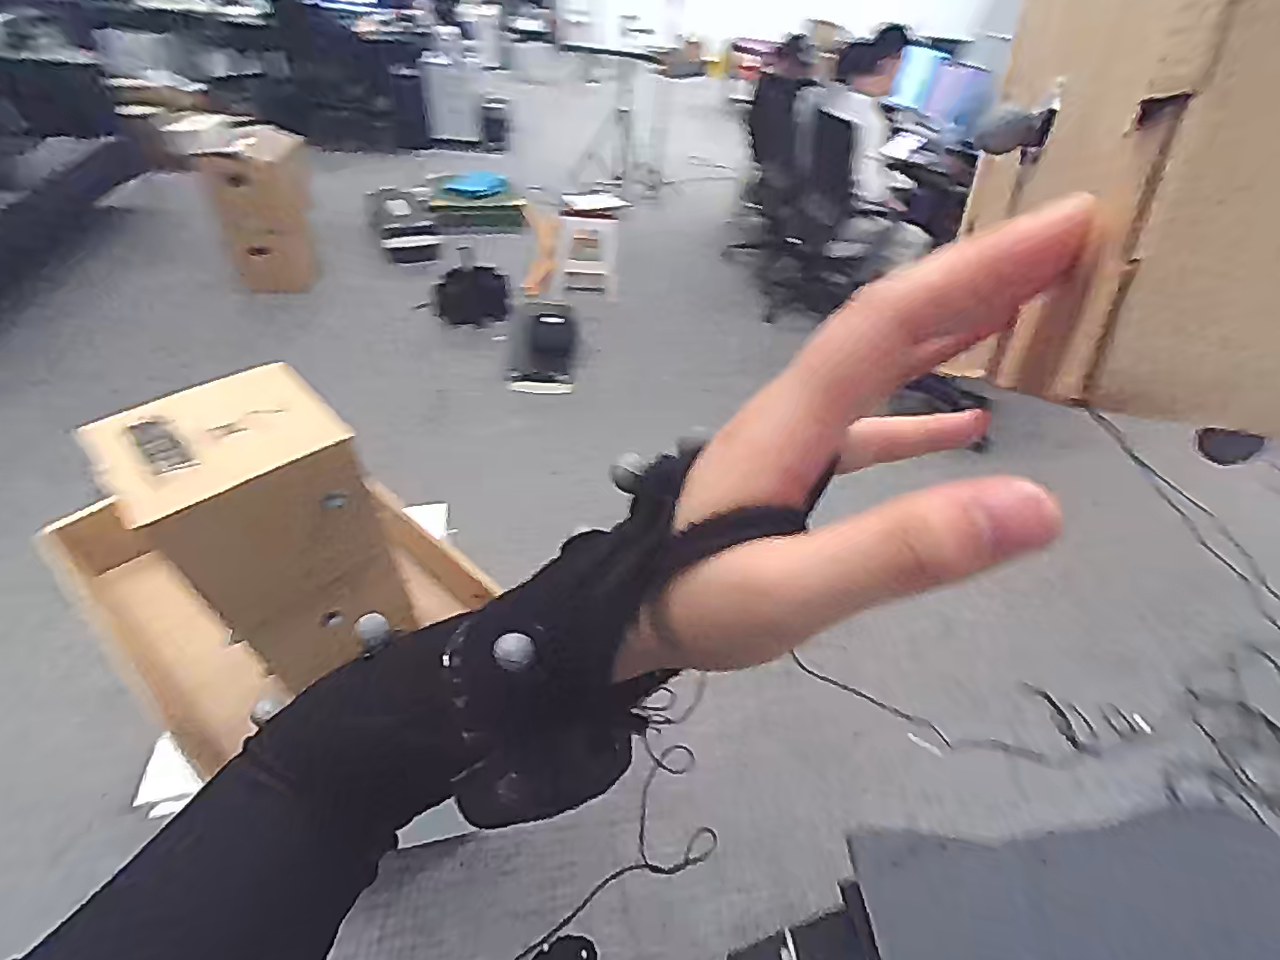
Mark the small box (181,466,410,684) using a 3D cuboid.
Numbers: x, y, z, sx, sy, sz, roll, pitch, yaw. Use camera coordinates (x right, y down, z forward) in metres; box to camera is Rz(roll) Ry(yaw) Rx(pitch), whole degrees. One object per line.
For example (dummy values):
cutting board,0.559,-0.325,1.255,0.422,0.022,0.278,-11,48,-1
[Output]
small box,-0.420,0.120,0.694,0.168,0.176,0.179,34,52,25
